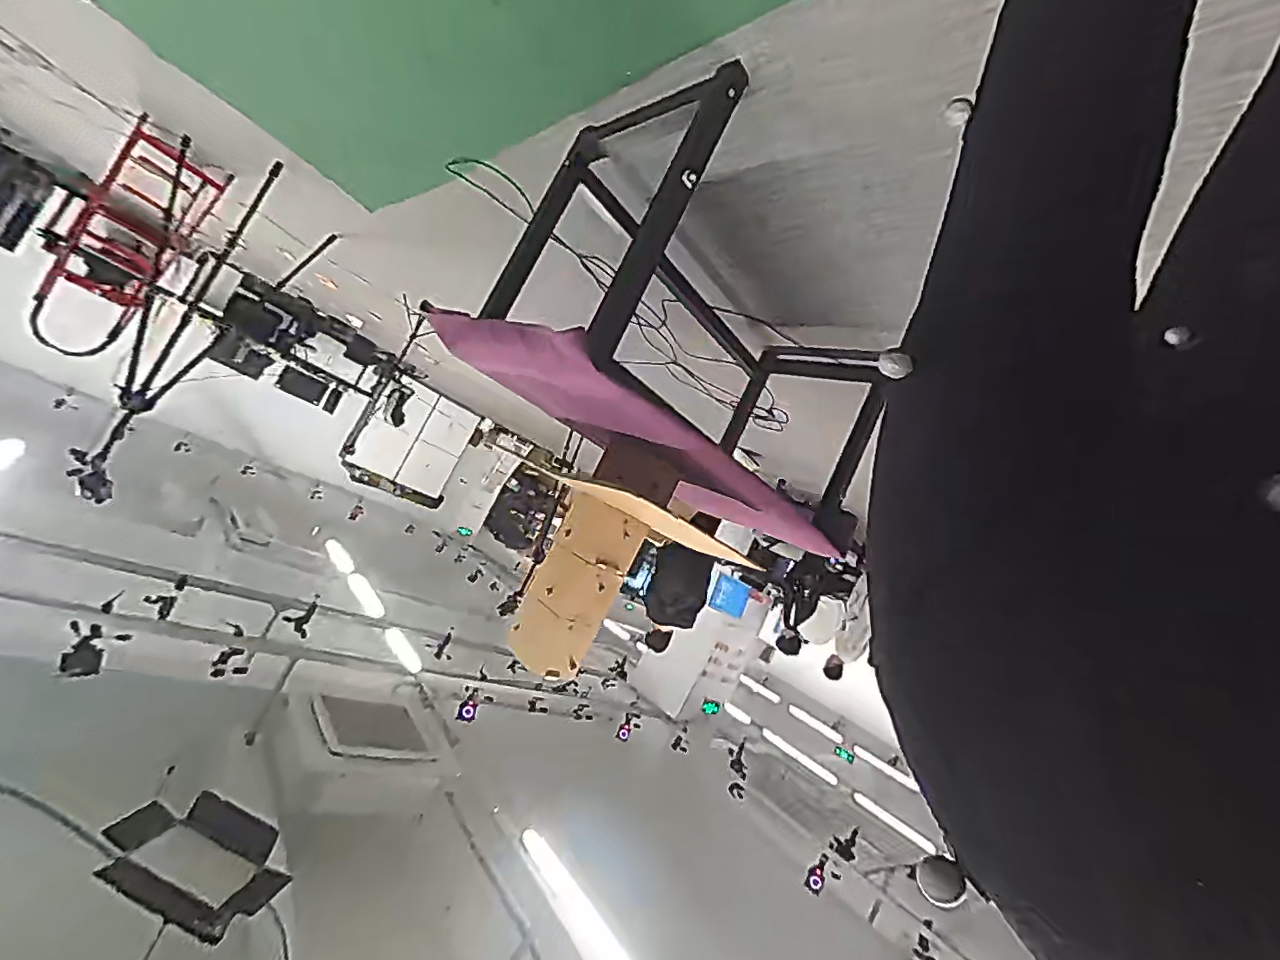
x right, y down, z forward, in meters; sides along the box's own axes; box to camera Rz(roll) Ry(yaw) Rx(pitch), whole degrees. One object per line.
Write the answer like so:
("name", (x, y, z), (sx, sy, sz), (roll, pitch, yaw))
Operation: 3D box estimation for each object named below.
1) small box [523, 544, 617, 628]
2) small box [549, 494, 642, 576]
("small box", (-0.198, 0.299, 1.558), (0.179, 0.176, 0.168), (21, 172, 46))
("small box", (-0.125, 0.154, 1.571), (0.179, 0.176, 0.168), (21, 173, 44))
